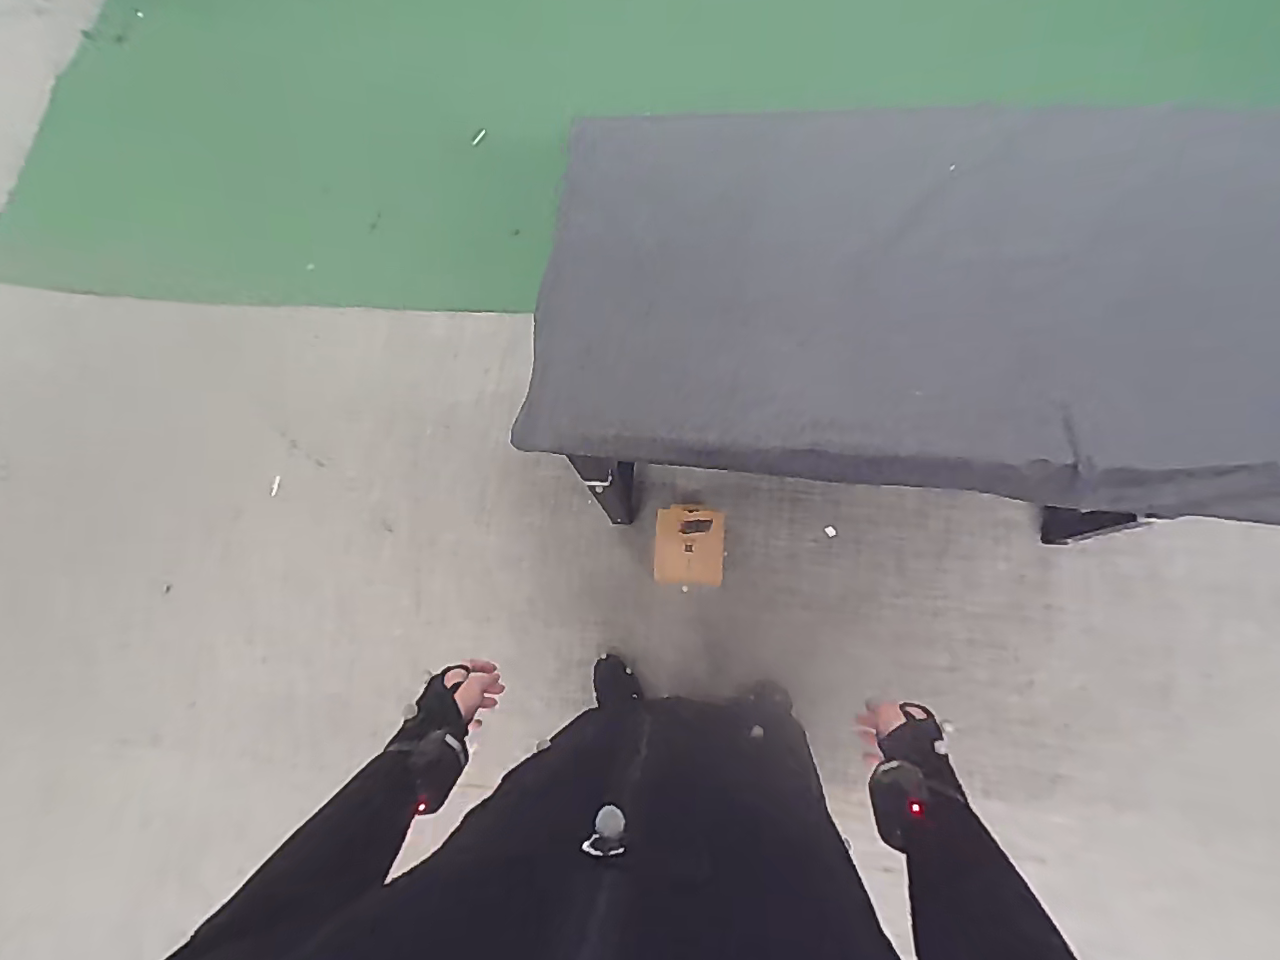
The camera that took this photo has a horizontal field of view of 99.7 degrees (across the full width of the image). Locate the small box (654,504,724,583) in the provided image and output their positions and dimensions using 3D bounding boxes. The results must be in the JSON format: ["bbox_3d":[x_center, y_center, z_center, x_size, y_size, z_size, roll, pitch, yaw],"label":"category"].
[{"bbox_3d":[0.124,0.166,1.375,0.168,0.176,0.179,2,76,6],"label":"small box"}]
